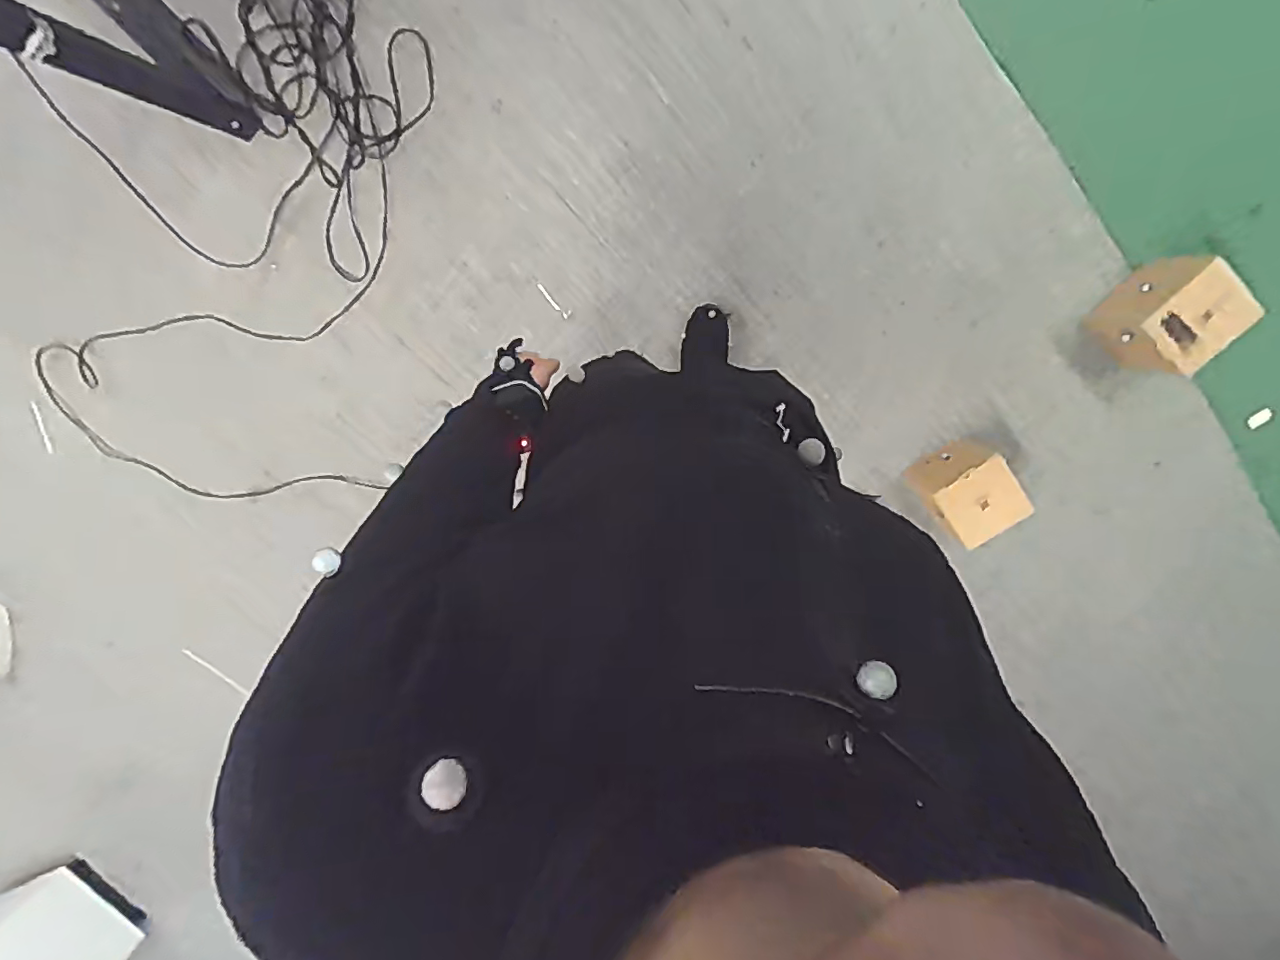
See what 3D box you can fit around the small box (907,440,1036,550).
[{"bbox_3d":[0.781,0.029,1.289,0.168,0.176,0.179,-36,102,13],"label":"small box"}]
